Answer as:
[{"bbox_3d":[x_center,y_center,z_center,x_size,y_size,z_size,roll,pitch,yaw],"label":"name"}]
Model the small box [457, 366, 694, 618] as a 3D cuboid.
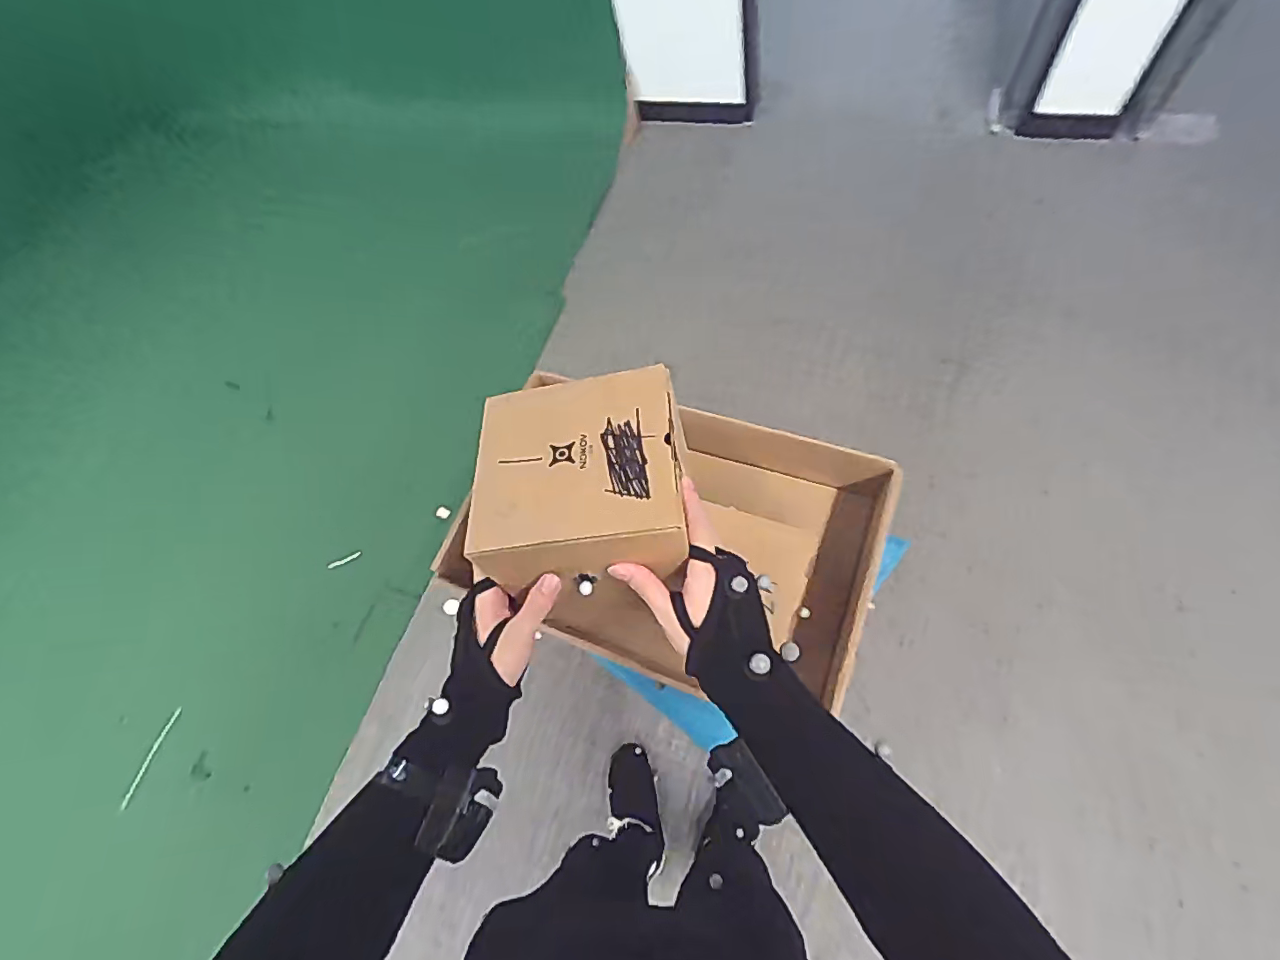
[{"bbox_3d":[-0.045,0.021,0.514,0.179,0.176,0.168,-9,56,8],"label":"small box"}]
